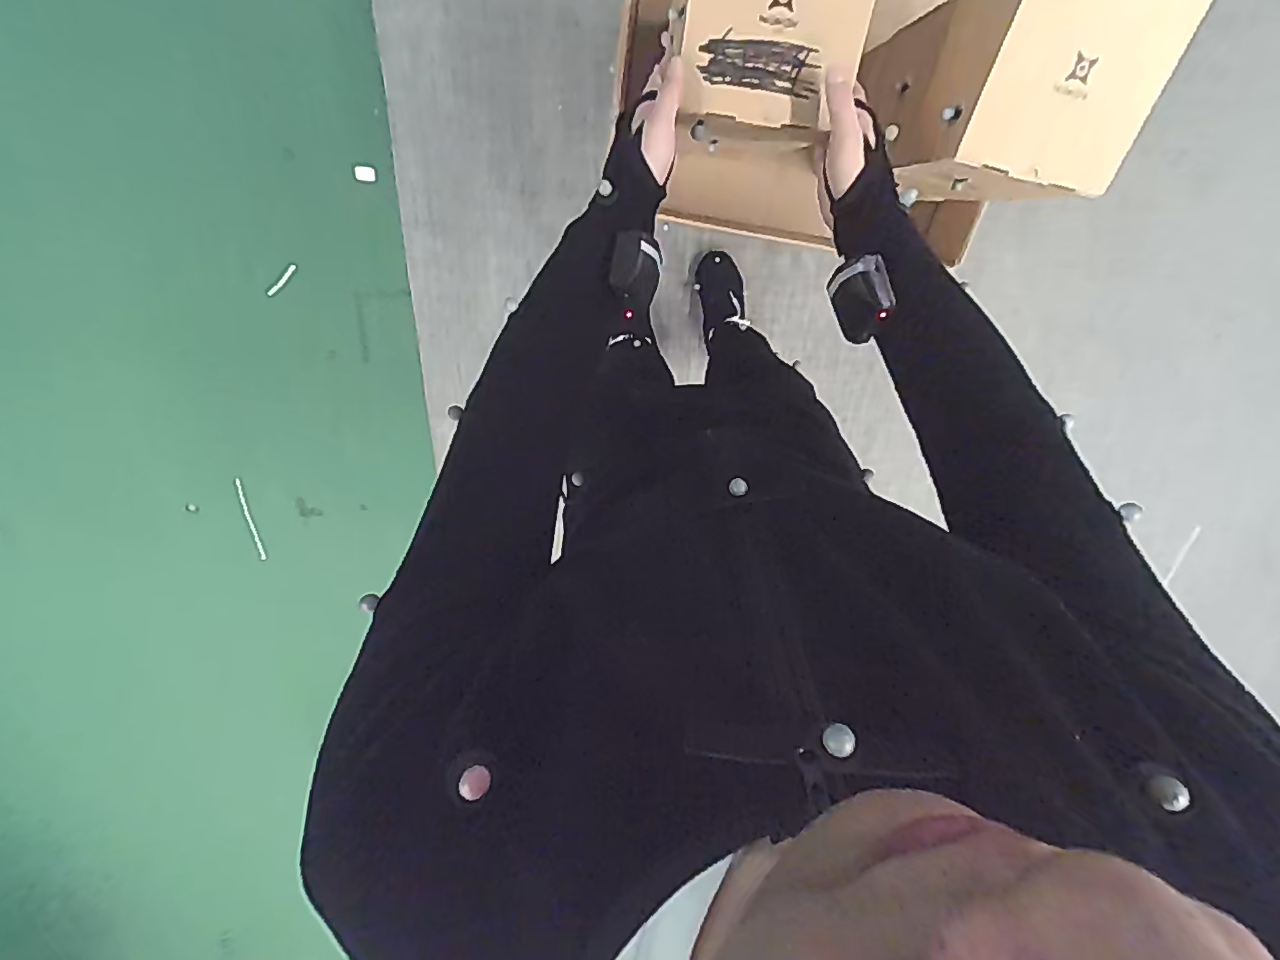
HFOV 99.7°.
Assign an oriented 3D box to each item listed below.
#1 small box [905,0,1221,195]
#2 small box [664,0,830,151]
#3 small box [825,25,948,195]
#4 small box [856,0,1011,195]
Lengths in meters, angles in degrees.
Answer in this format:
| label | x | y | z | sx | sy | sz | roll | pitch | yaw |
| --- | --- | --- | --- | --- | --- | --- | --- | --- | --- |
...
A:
| label | x | y | z | sx | sy | sz | roll | pitch | yaw |
| --- | --- | --- | --- | --- | --- | --- | --- | --- | --- |
| small box | 0.412 | -0.411 | 0.563 | 0.168 | 0.176 | 0.179 | 10 | 118 | -5 |
| small box | 0.123 | -0.533 | 0.682 | 0.168 | 0.176 | 0.179 | 6 | 118 | -3 |
| small box | 0.415 | -0.565 | 0.851 | 0.168 | 0.176 | 0.179 | 12 | 118 | -5 |
| small box | 0.410 | -0.488 | 0.707 | 0.168 | 0.176 | 0.179 | 11 | 118 | -6 |
